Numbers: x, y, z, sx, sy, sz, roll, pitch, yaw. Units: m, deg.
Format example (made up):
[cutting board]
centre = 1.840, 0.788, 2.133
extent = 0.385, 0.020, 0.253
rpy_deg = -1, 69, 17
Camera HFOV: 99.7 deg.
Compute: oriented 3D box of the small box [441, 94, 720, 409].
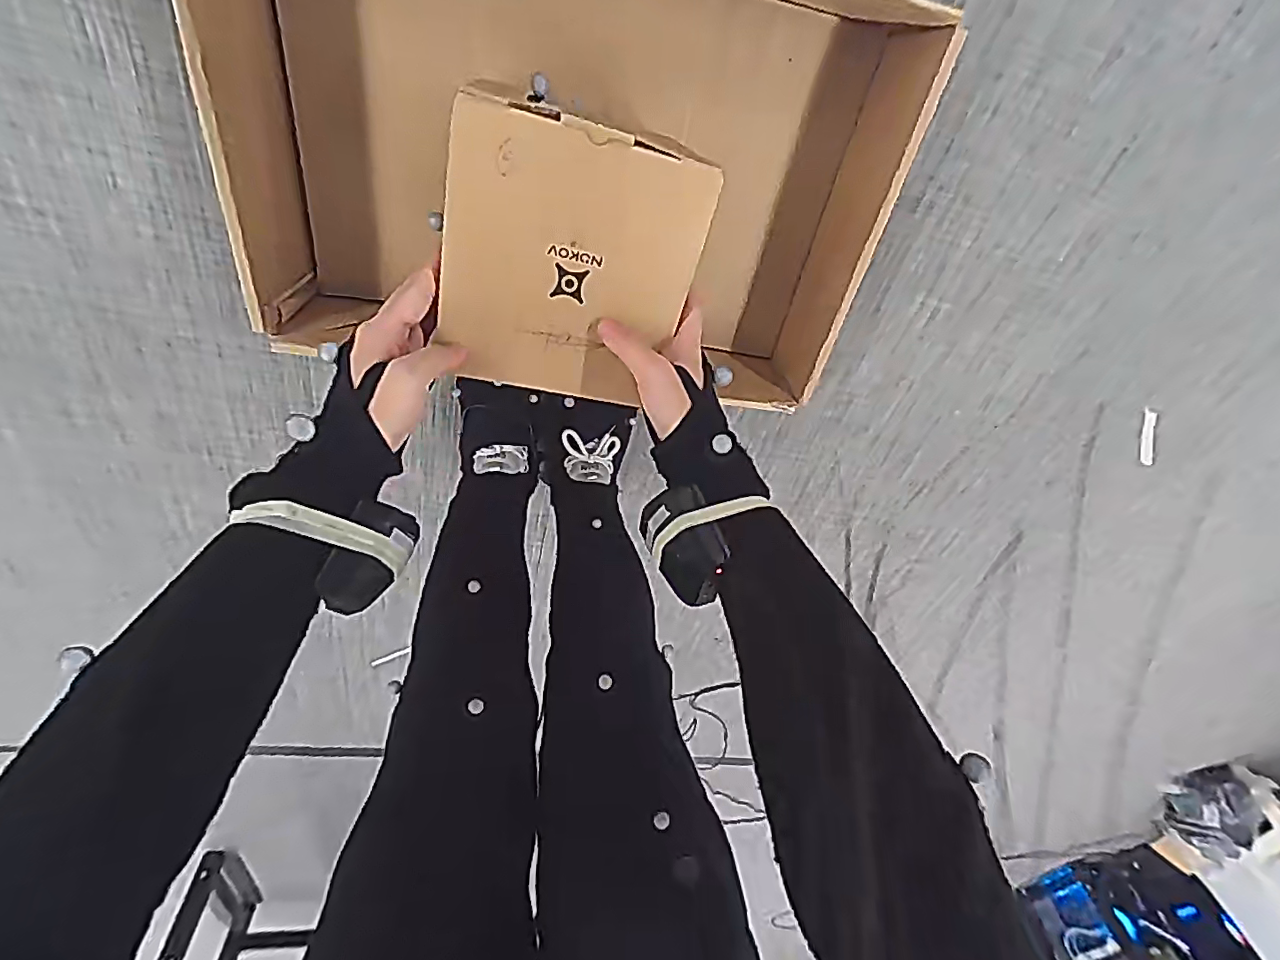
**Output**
[small box]
centre = -0.058, -0.184, 0.434
extent = 0.168, 0.176, 0.179
rpy_deg = 8, 127, -15
